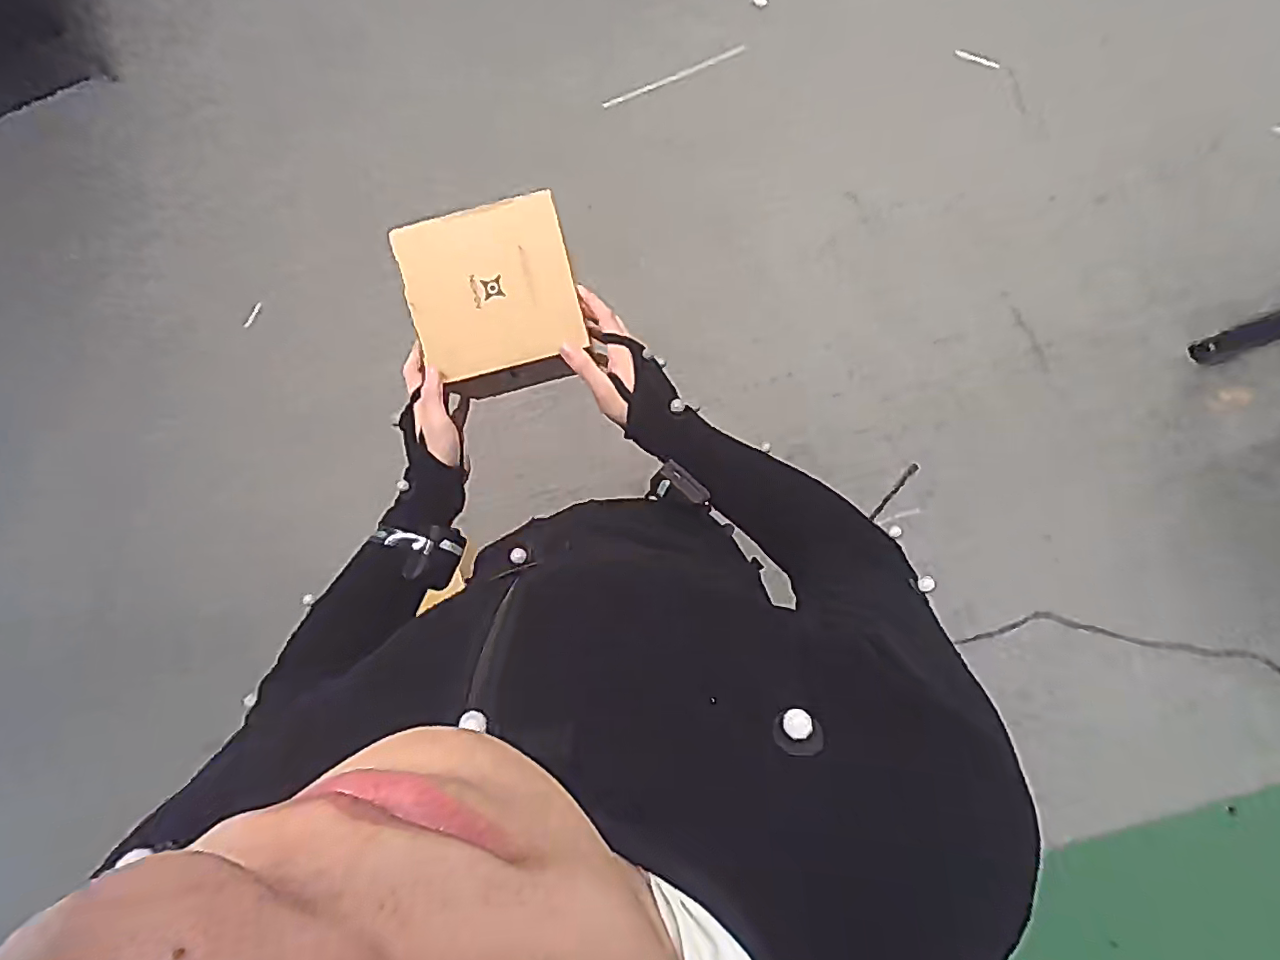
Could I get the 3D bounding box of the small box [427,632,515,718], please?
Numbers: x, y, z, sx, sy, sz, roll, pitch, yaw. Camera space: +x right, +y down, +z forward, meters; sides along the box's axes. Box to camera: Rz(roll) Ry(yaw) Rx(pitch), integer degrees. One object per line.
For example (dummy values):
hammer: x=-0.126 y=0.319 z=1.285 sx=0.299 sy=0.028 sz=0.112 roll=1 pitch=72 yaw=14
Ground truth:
small box: x=-0.477 y=0.555 z=1.563 sx=0.179 sy=0.176 sz=0.168 roll=-20 pitch=85 yaw=3

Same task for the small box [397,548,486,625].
small box: x=-0.571 y=0.306 z=1.587 sx=0.179 sy=0.176 sz=0.168 roll=-20 pitch=86 yaw=4

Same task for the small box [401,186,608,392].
small box: x=-0.143 y=-0.206 z=0.634 sx=0.179 sy=0.176 sz=0.168 roll=-13 pitch=93 yaw=1
